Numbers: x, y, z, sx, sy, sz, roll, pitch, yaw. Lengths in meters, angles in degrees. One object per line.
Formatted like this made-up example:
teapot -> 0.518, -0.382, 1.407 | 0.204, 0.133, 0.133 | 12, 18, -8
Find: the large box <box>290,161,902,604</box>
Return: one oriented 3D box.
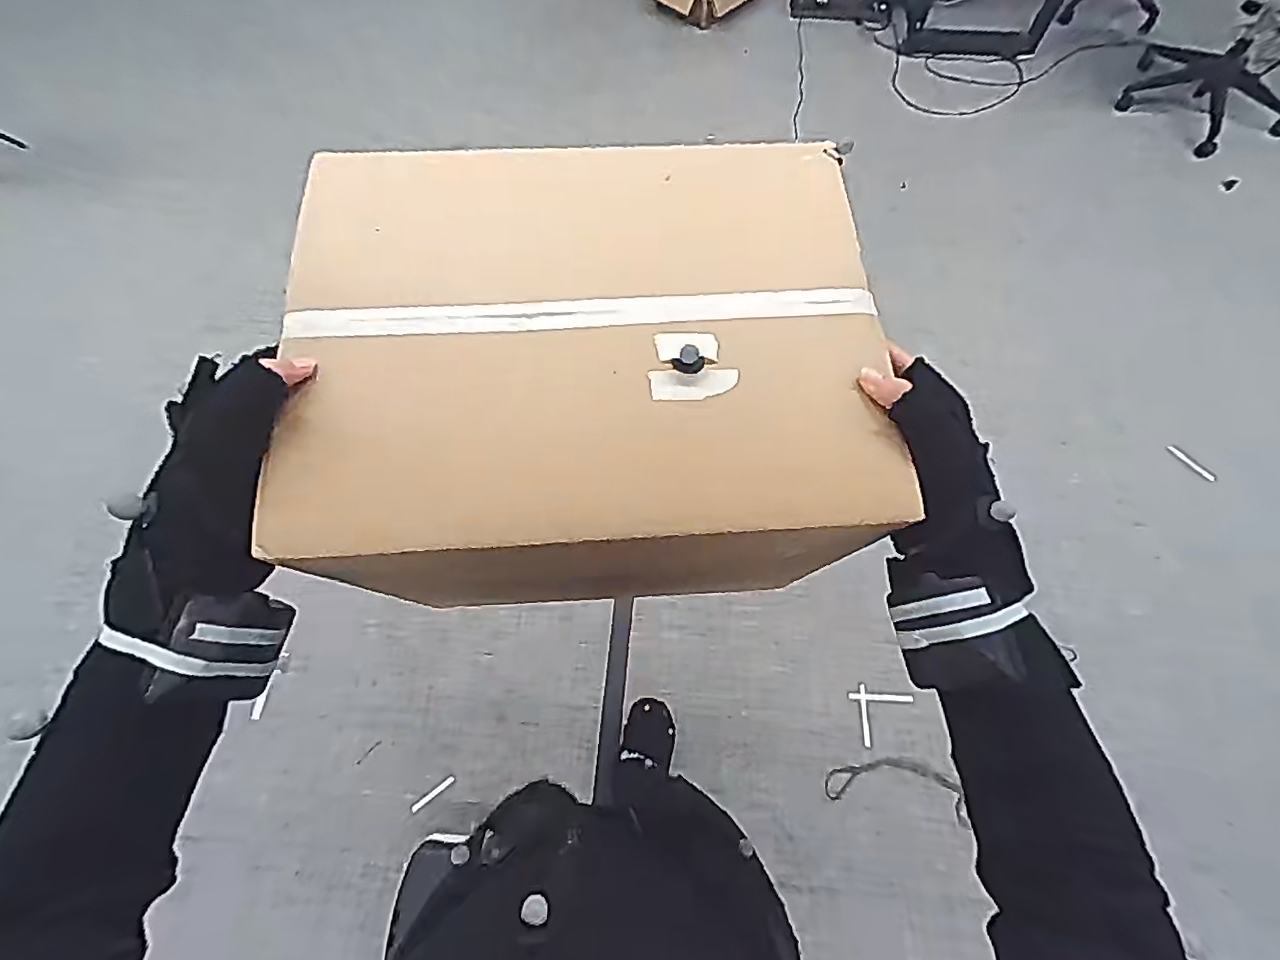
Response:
large box -> -0.039, -0.064, 0.535 | 0.408, 0.320, 0.320 | -3, 72, -3
